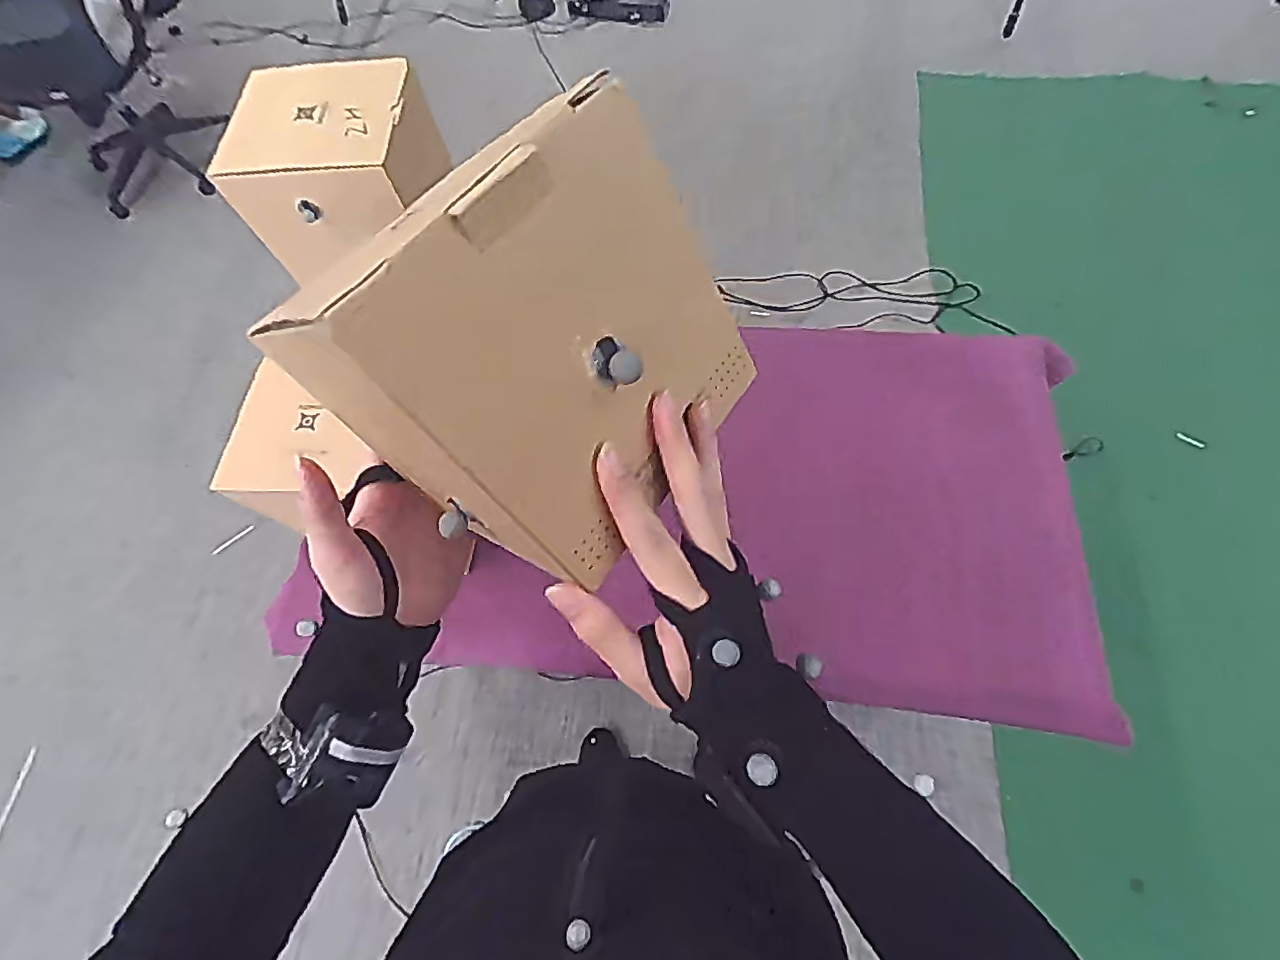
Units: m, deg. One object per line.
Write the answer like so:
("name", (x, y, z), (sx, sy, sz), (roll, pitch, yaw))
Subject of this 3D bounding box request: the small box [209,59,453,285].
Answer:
("small box", (-0.322, -0.334, 0.616), (0.179, 0.176, 0.168), (-2, 67, 2))

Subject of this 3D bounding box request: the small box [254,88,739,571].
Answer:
("small box", (-0.072, -0.071, 0.313), (0.179, 0.176, 0.168), (16, 60, 47))

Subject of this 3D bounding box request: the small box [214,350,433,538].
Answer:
("small box", (-0.360, -0.039, 0.670), (0.168, 0.176, 0.179), (1, 67, 4))
